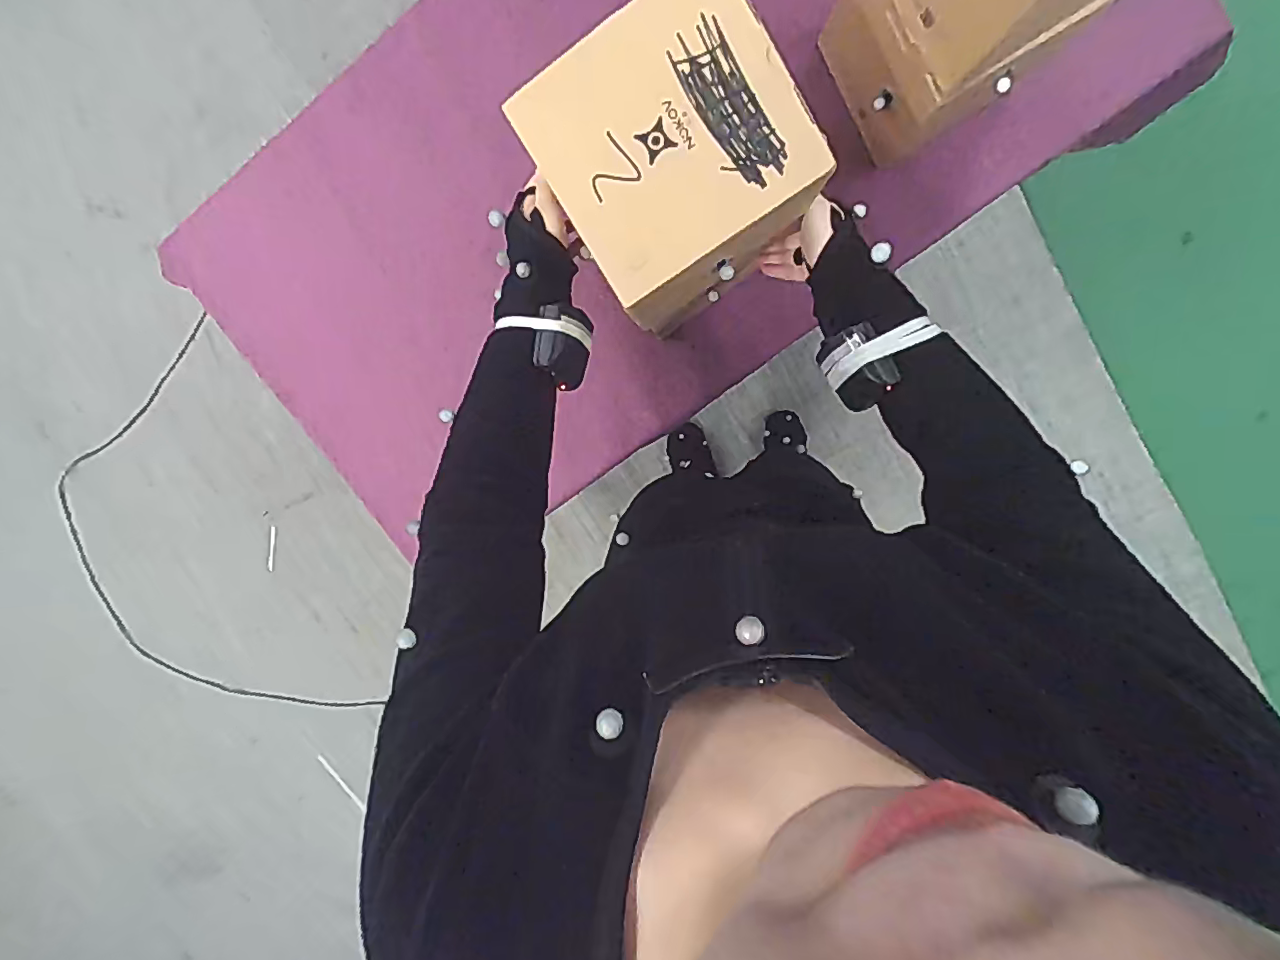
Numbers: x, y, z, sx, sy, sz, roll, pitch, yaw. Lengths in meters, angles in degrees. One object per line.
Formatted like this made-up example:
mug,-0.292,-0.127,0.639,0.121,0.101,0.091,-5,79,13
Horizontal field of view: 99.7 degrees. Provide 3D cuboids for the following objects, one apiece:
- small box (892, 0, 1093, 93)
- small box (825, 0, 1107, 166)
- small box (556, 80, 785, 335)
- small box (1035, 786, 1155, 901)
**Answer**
small box,0.298,-0.446,0.404,0.179,0.176,0.168,-31,97,8
small box,0.313,-0.471,0.564,0.179,0.176,0.168,-28,98,8
small box,0.036,-0.283,0.615,0.179,0.176,0.168,-34,96,9
small box,1.253,1.008,1.509,0.179,0.176,0.168,-33,97,9
